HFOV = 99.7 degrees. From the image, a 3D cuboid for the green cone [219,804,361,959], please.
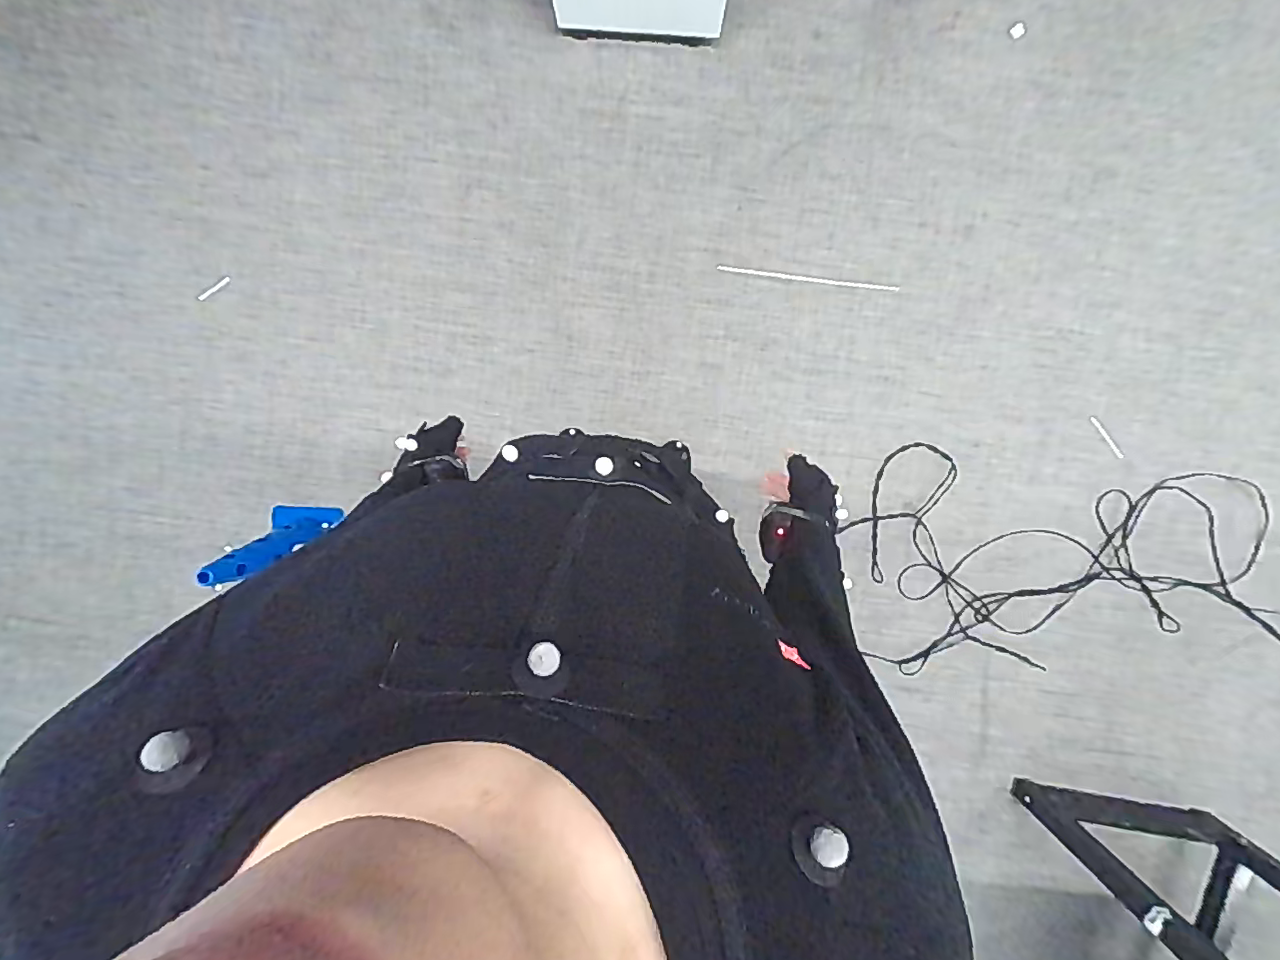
[{"bbox_3d":[-0.915,1.054,1.386,0.200,0.368,0.202,10,94,0],"label":"green cone"}]
